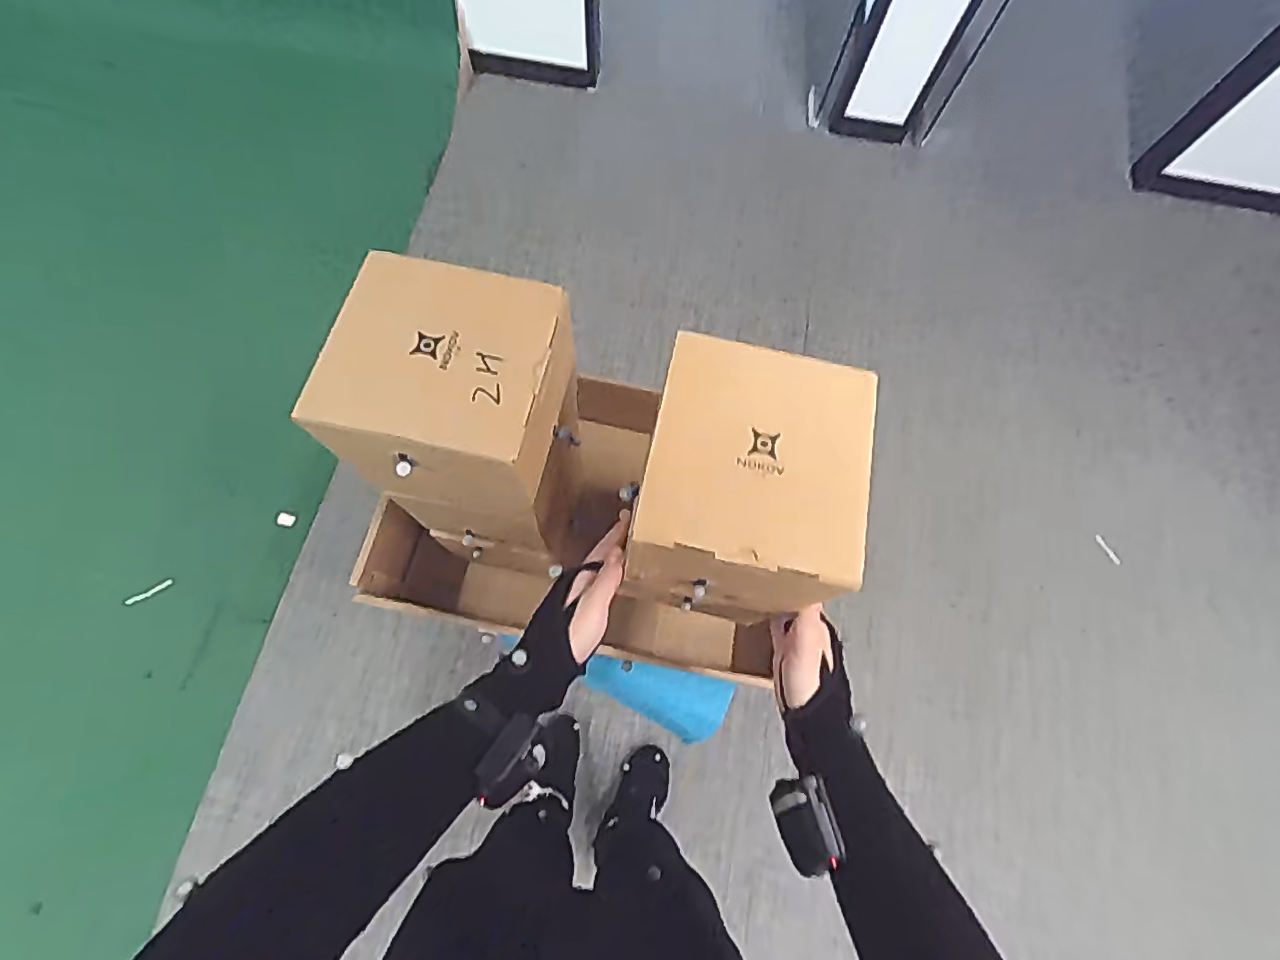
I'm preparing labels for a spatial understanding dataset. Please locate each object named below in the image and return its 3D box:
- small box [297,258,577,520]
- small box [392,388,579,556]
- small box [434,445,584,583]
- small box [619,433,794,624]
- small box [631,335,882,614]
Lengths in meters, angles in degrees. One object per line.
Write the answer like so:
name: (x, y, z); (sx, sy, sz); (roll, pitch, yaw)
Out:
small box: (-0.165, -0.073, 0.511); (0.179, 0.176, 0.168); (12, 69, 1)
small box: (-0.173, -0.020, 0.666); (0.168, 0.176, 0.179); (11, 70, 0)
small box: (-0.182, 0.042, 0.816); (0.168, 0.176, 0.179); (11, 69, 1)
small box: (0.080, 0.064, 0.626); (0.179, 0.176, 0.168); (13, 70, 2)
small box: (0.089, 0.008, 0.474); (0.168, 0.176, 0.179); (13, 70, 0)
